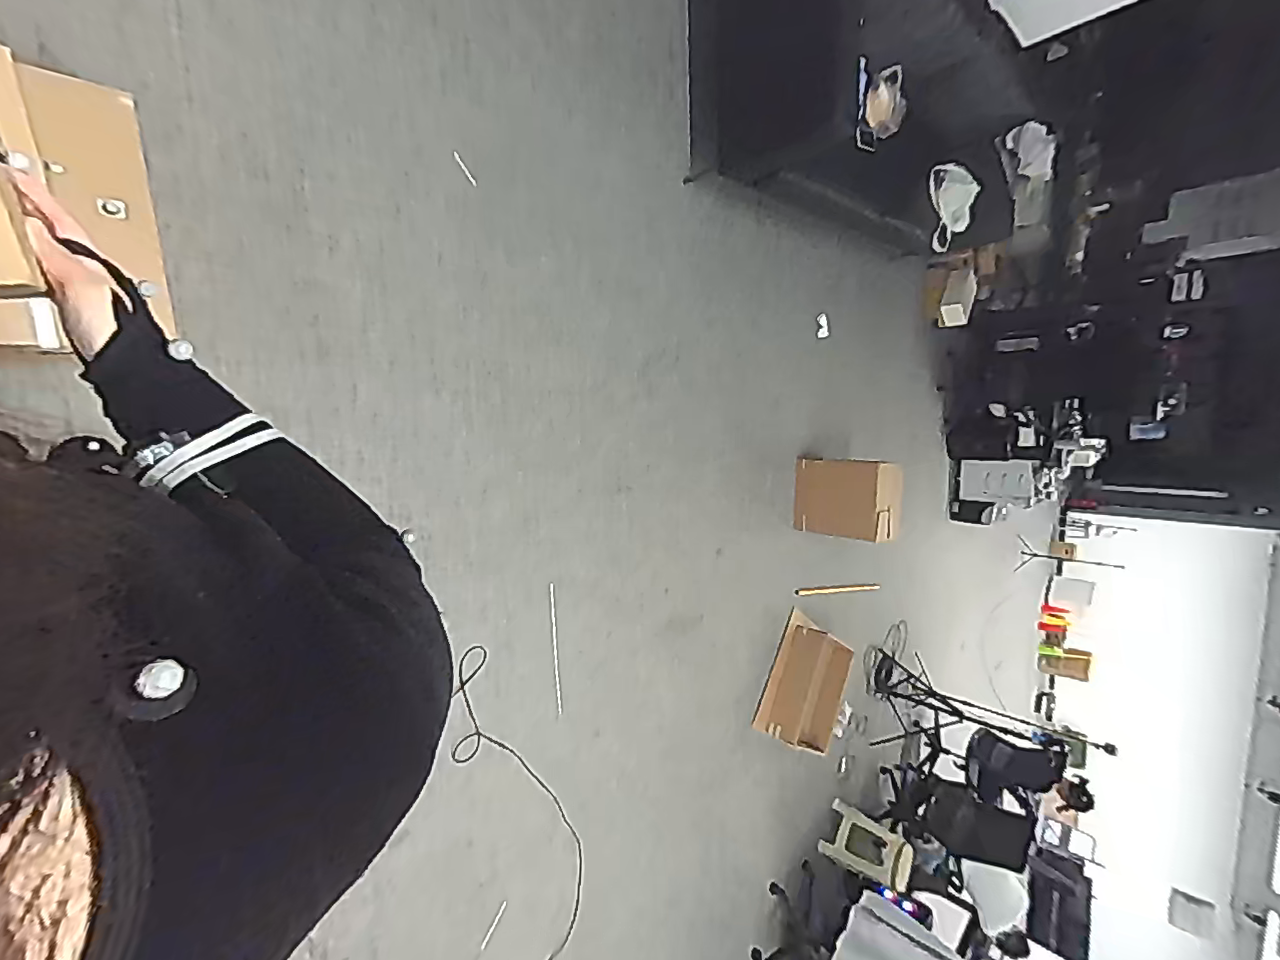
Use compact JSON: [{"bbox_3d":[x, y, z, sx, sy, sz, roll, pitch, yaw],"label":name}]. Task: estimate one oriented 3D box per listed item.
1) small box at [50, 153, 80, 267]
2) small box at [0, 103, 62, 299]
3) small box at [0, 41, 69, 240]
[{"bbox_3d":[-0.875,-0.386,0.708,0.168,0.176,0.179,-15,105,-41],"label":"small box"},{"bbox_3d":[-0.472,-0.194,0.301,0.168,0.176,0.179,-19,115,-38],"label":"small box"},{"bbox_3d":[-0.763,-0.369,0.586,0.179,0.176,0.168,-15,104,-40],"label":"small box"}]
